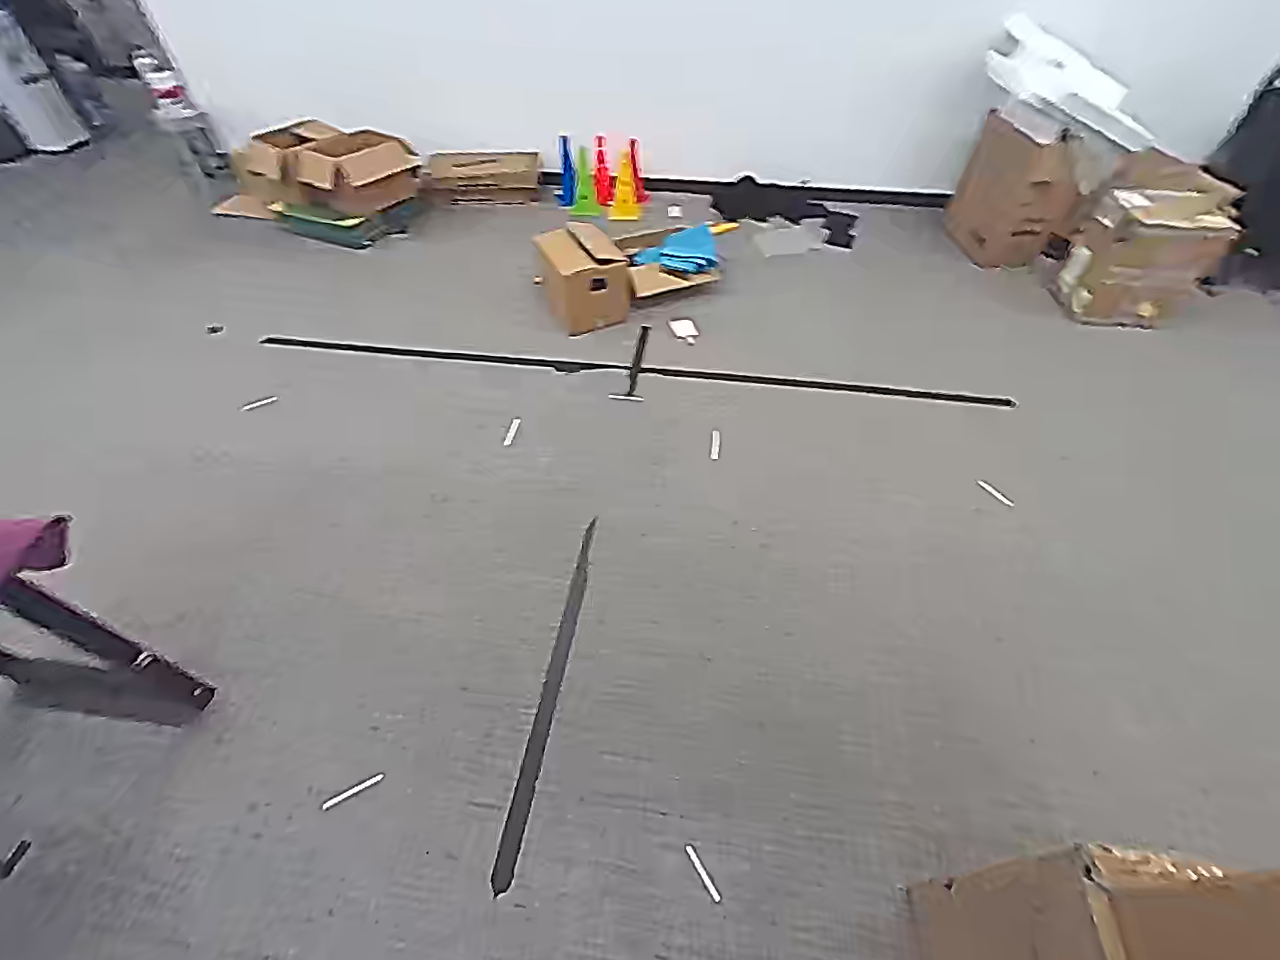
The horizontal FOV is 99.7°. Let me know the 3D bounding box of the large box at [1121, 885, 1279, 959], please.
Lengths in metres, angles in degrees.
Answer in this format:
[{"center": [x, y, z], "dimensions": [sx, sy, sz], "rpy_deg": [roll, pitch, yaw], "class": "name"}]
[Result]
[{"center": [0.728, 0.606, 0.442], "dimensions": [0.320, 0.320, 0.408], "rpy_deg": [7, 51, 8], "class": "large box"}]
